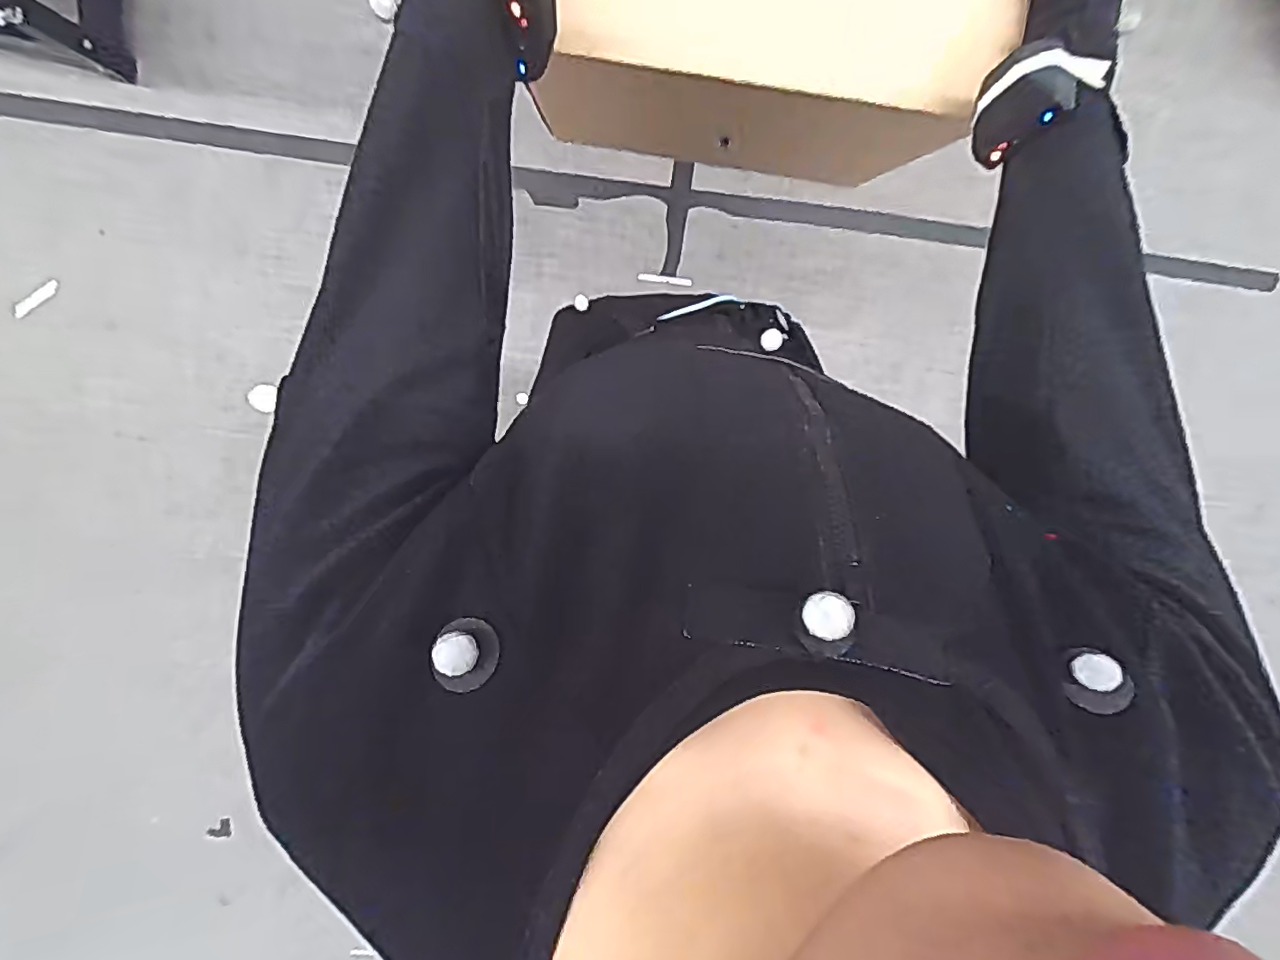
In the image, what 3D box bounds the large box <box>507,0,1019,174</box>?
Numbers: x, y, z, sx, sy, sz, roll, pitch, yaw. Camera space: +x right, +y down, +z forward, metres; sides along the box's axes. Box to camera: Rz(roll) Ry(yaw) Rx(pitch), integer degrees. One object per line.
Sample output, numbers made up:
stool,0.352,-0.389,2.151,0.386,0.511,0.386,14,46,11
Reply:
large box,0.111,-0.520,0.527,0.408,0.320,0.320,8,109,-3
